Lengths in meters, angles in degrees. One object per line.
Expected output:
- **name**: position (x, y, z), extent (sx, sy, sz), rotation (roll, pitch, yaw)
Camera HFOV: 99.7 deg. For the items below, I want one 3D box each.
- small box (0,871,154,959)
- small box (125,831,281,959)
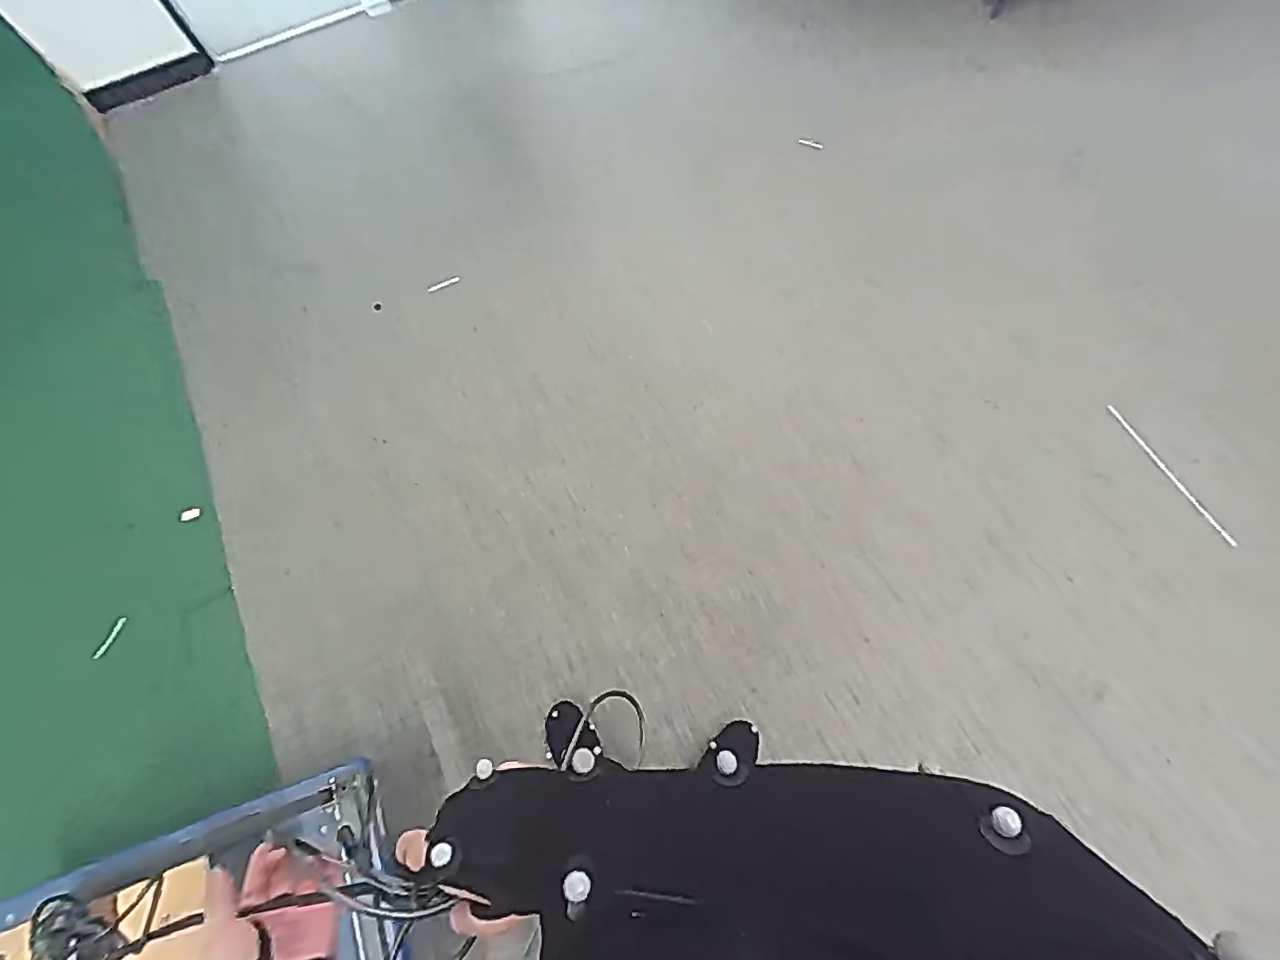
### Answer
- **small box**: position (-1.087, 0.907, 1.048), extent (0.179, 0.176, 0.168), rotation (-21, 73, -6)
- **small box**: position (-0.854, 0.830, 1.066), extent (0.179, 0.176, 0.168), rotation (-18, 72, -4)
